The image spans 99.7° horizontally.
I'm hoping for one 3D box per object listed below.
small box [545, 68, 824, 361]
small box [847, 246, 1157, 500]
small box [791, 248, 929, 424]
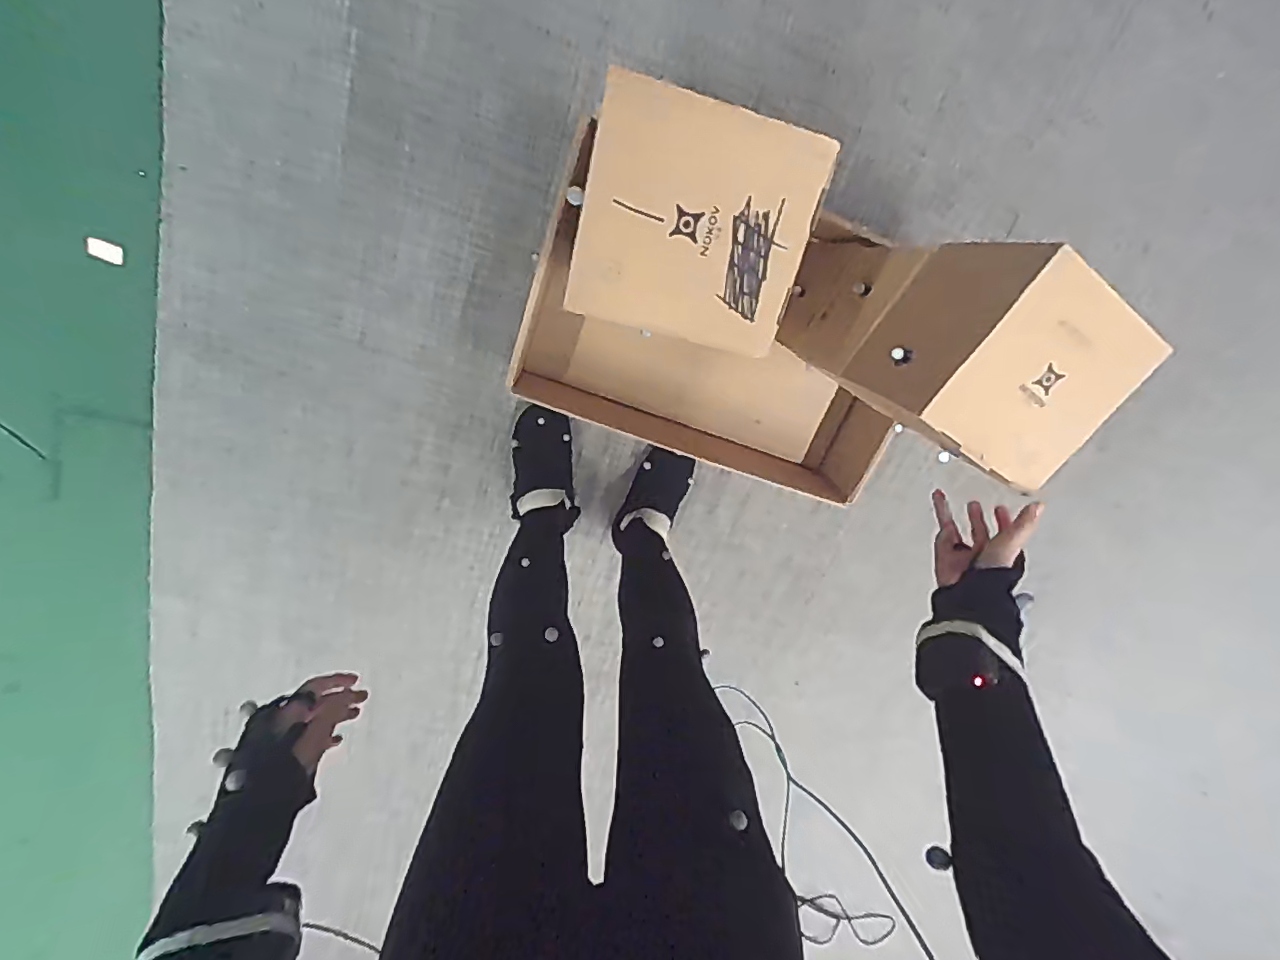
[{"bbox_3d":[0.027,-0.220,0.479,0.179,0.176,0.168,14,112,-6],"label":"small box"},{"bbox_3d":[0.345,-0.116,0.560,0.168,0.176,0.179,30,107,-18],"label":"small box"},{"bbox_3d":[0.329,-0.180,0.709,0.179,0.176,0.168,28,109,-16],"label":"small box"}]
